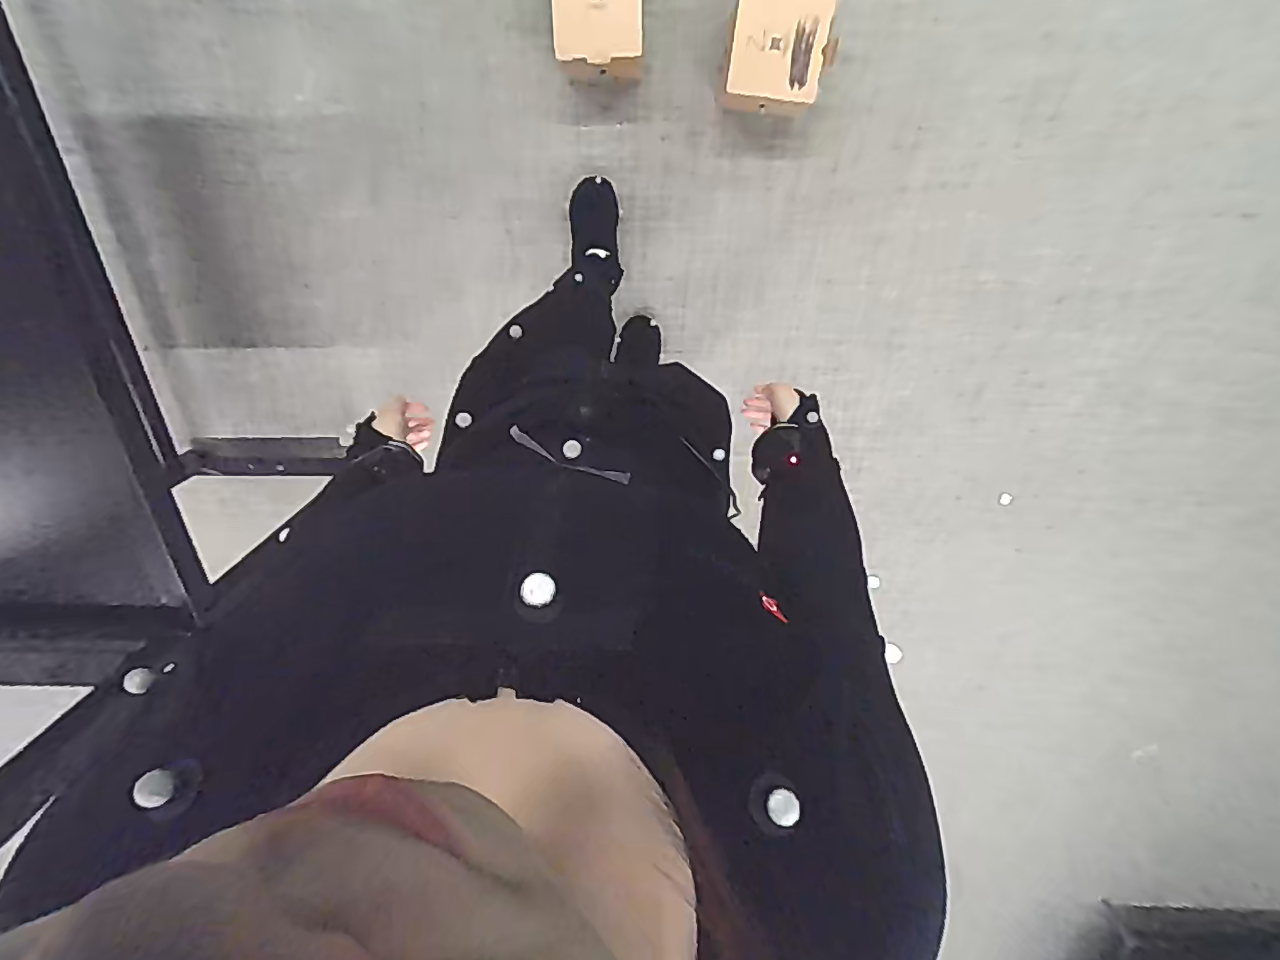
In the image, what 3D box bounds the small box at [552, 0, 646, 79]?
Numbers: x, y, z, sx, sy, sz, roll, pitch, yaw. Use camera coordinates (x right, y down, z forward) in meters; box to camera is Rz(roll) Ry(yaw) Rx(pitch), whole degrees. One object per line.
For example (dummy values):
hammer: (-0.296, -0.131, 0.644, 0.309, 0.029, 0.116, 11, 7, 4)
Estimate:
small box: (-0.072, -0.885, 1.033, 0.168, 0.176, 0.179, 0, 116, 2)
